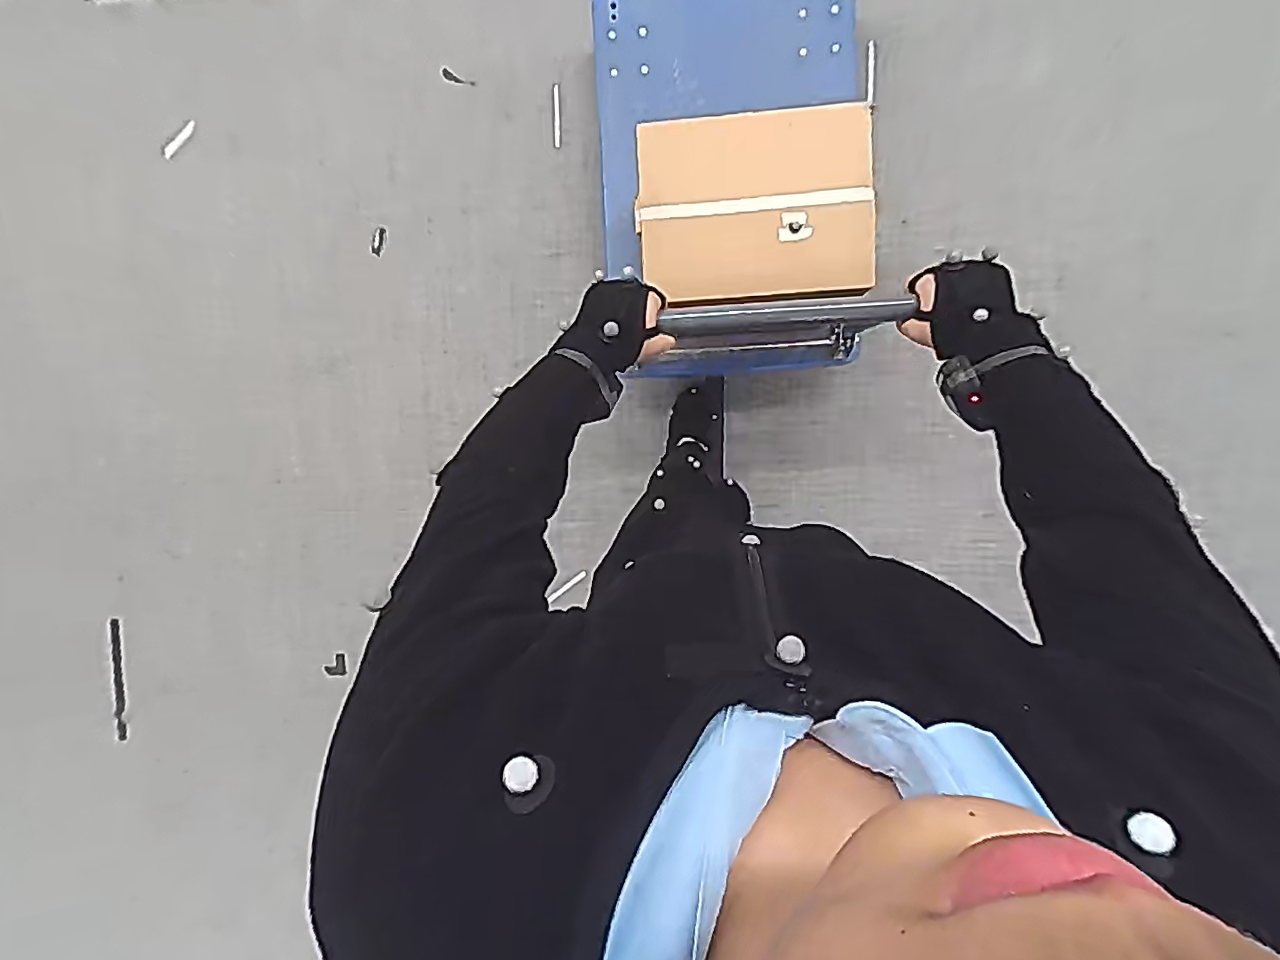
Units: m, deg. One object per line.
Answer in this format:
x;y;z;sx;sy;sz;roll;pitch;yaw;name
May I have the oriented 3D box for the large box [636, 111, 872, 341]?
0.208;-0.479;1.098;0.408;0.320;0.320;-3;95;4;large box
